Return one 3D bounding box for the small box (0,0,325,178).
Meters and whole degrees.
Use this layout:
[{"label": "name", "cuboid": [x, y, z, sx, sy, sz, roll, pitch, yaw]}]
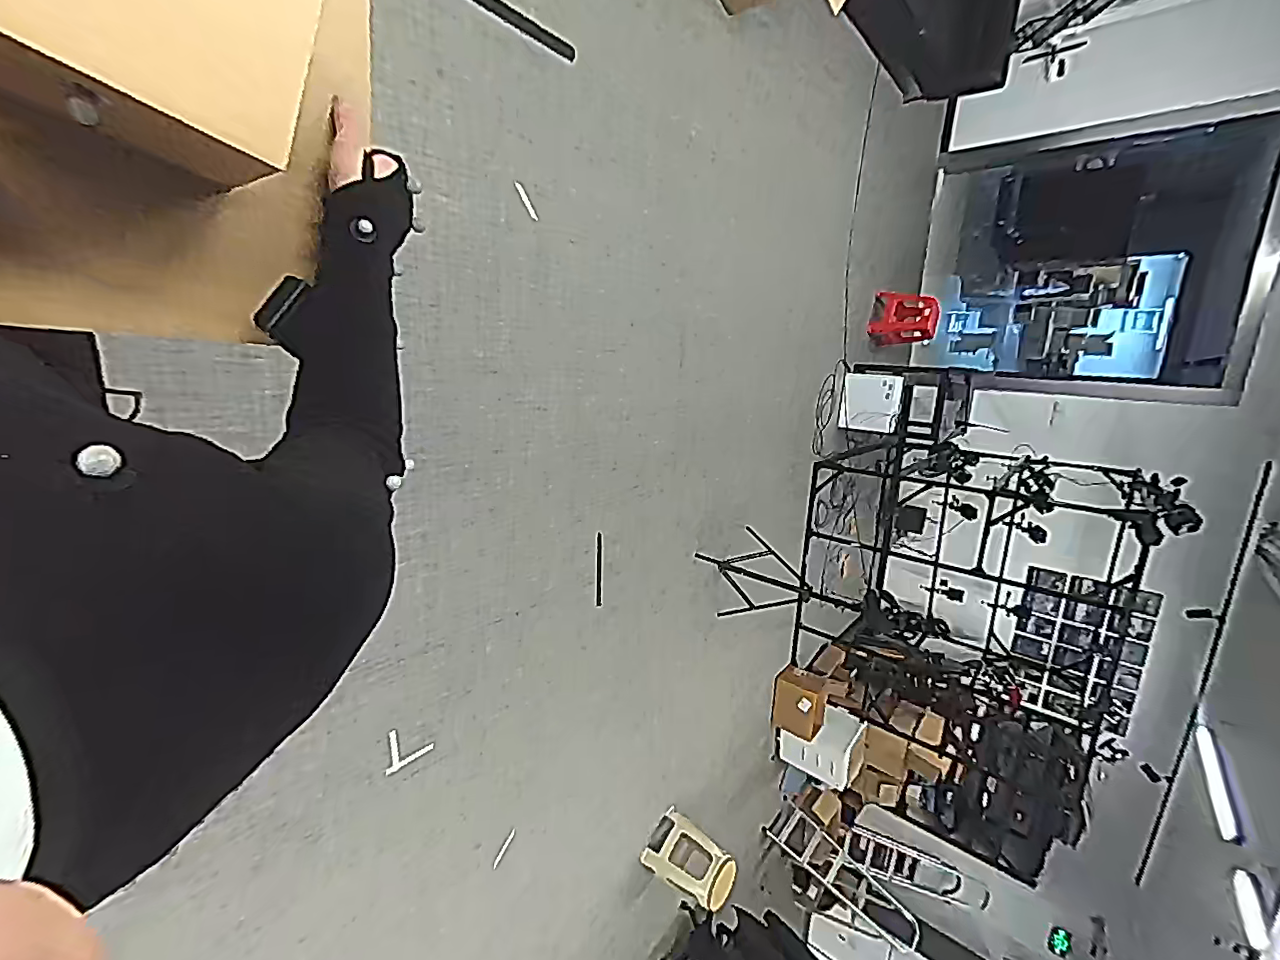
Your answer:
[{"label": "small box", "cuboid": [-0.339, -0.326, 0.360, 0.179, 0.176, 0.168, 11, 97, -48]}]
